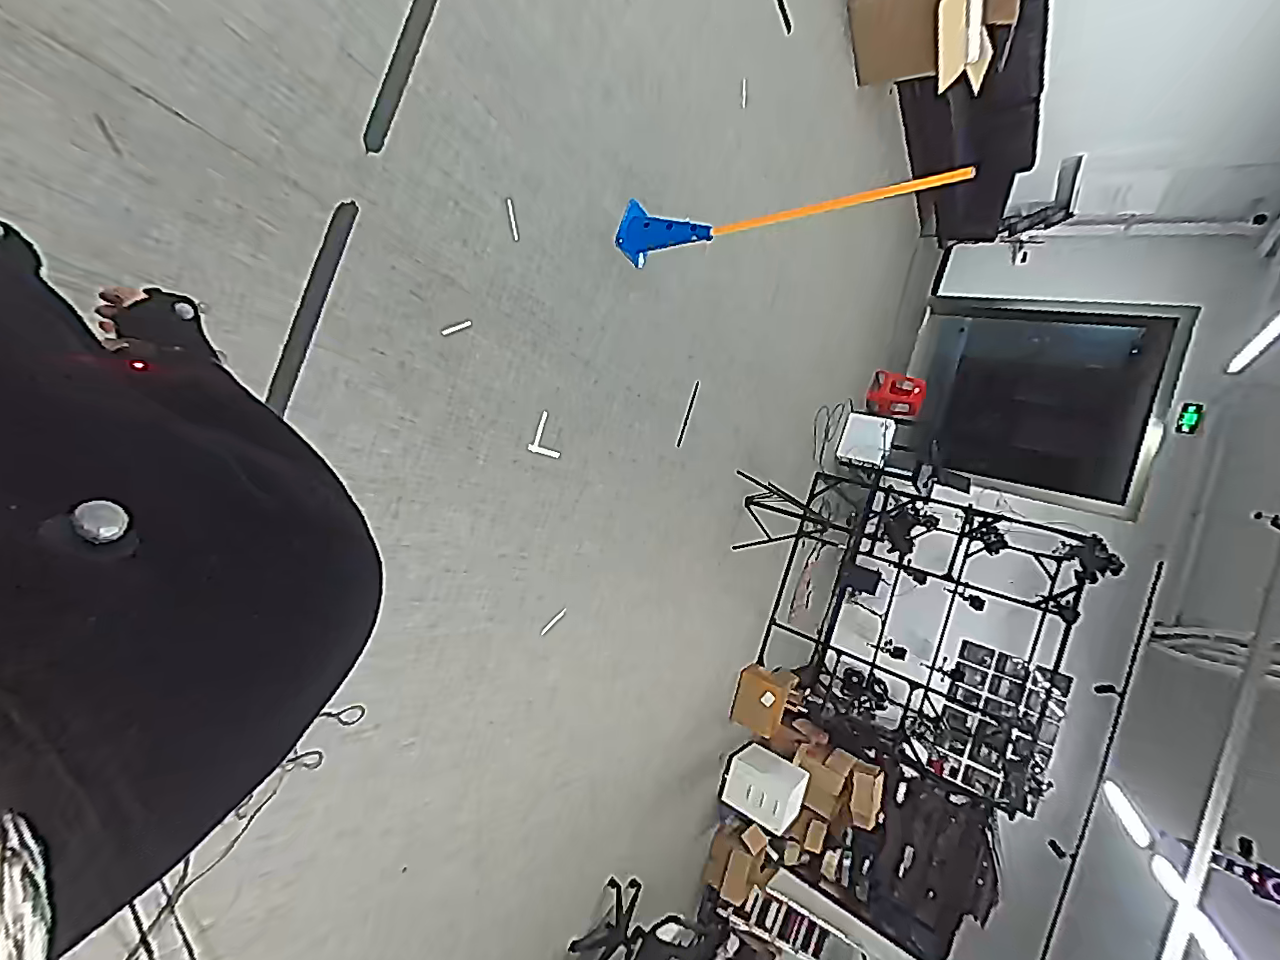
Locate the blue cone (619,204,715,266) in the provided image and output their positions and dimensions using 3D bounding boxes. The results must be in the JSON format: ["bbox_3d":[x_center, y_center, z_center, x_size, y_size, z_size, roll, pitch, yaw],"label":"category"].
[{"bbox_3d":[0.121,-0.944,2.080,0.193,0.380,0.192,27,82,-55],"label":"blue cone"}]
